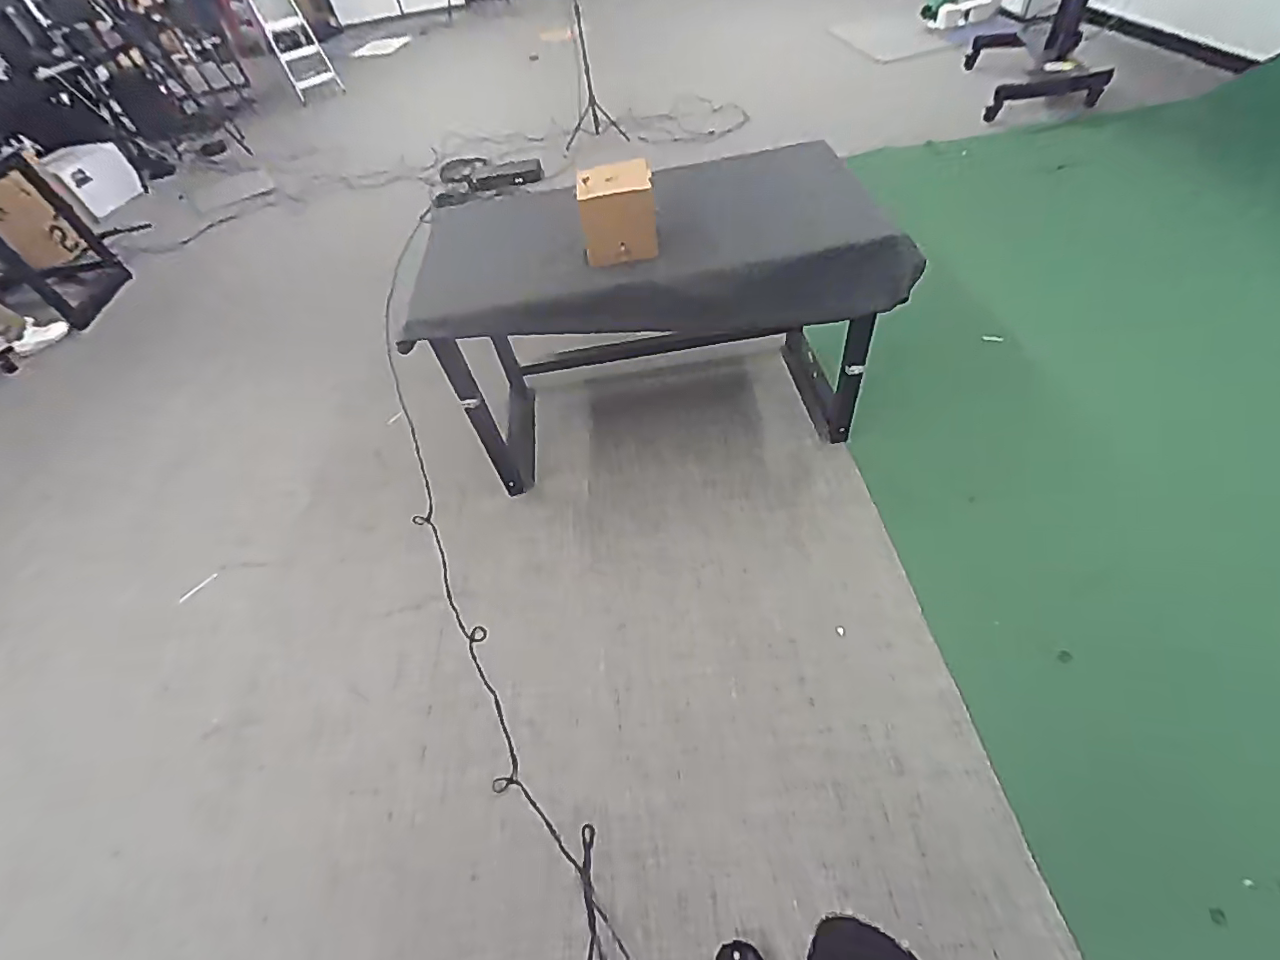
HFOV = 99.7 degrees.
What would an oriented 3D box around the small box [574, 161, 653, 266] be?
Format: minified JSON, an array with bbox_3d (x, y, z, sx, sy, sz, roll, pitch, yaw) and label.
[{"bbox_3d":[-0.062,-0.657,1.339,0.179,0.176,0.168,-8,50,2],"label":"small box"}]
